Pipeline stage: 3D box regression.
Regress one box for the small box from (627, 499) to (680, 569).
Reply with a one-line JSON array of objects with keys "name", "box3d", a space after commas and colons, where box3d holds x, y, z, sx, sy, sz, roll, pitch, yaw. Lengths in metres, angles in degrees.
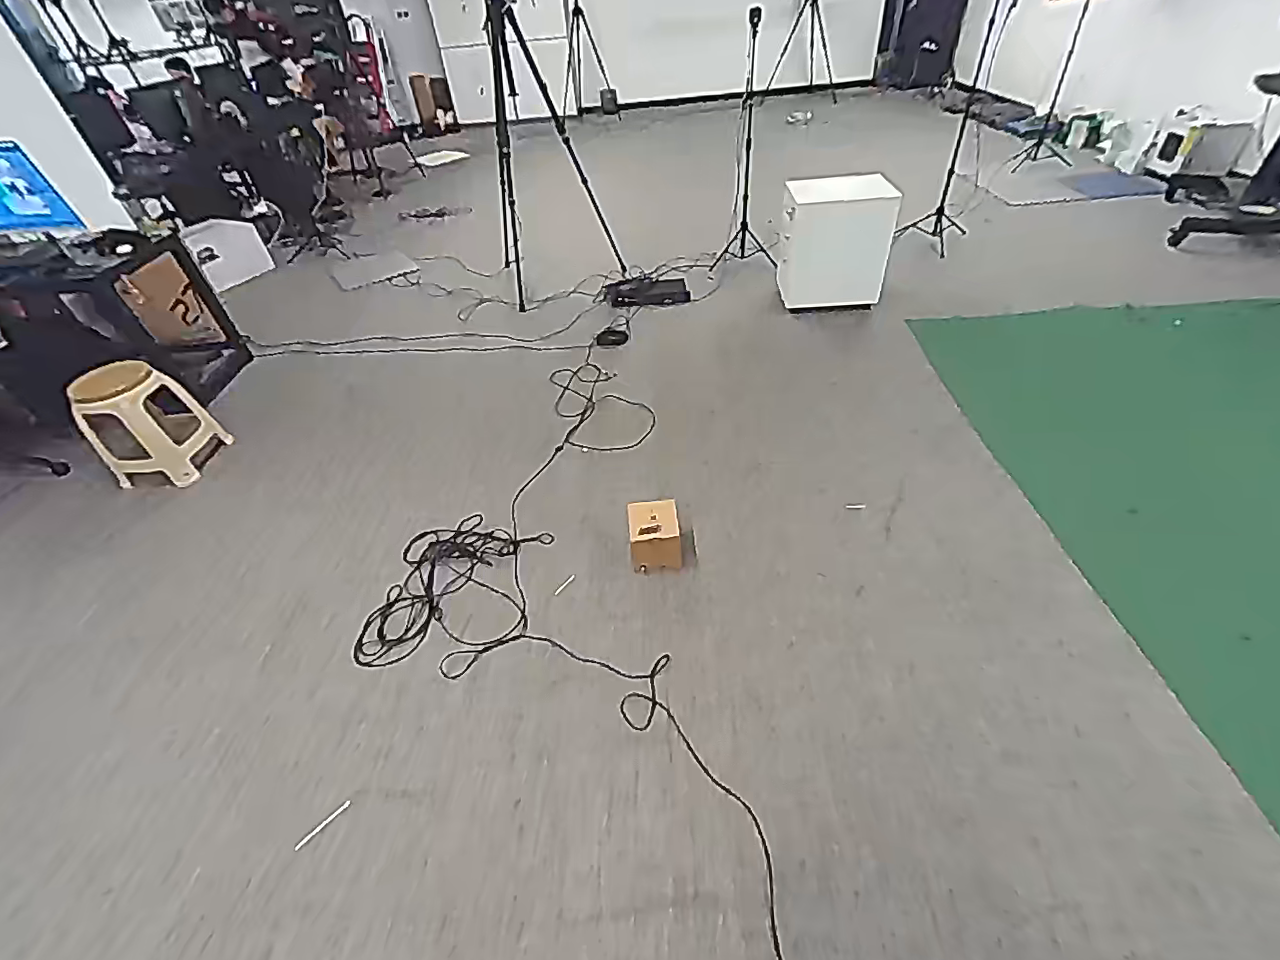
[{"name": "small box", "box3d": [0.048, 0.191, 1.856, 0.168, 0.176, 0.179, -5, 42, 1]}]
